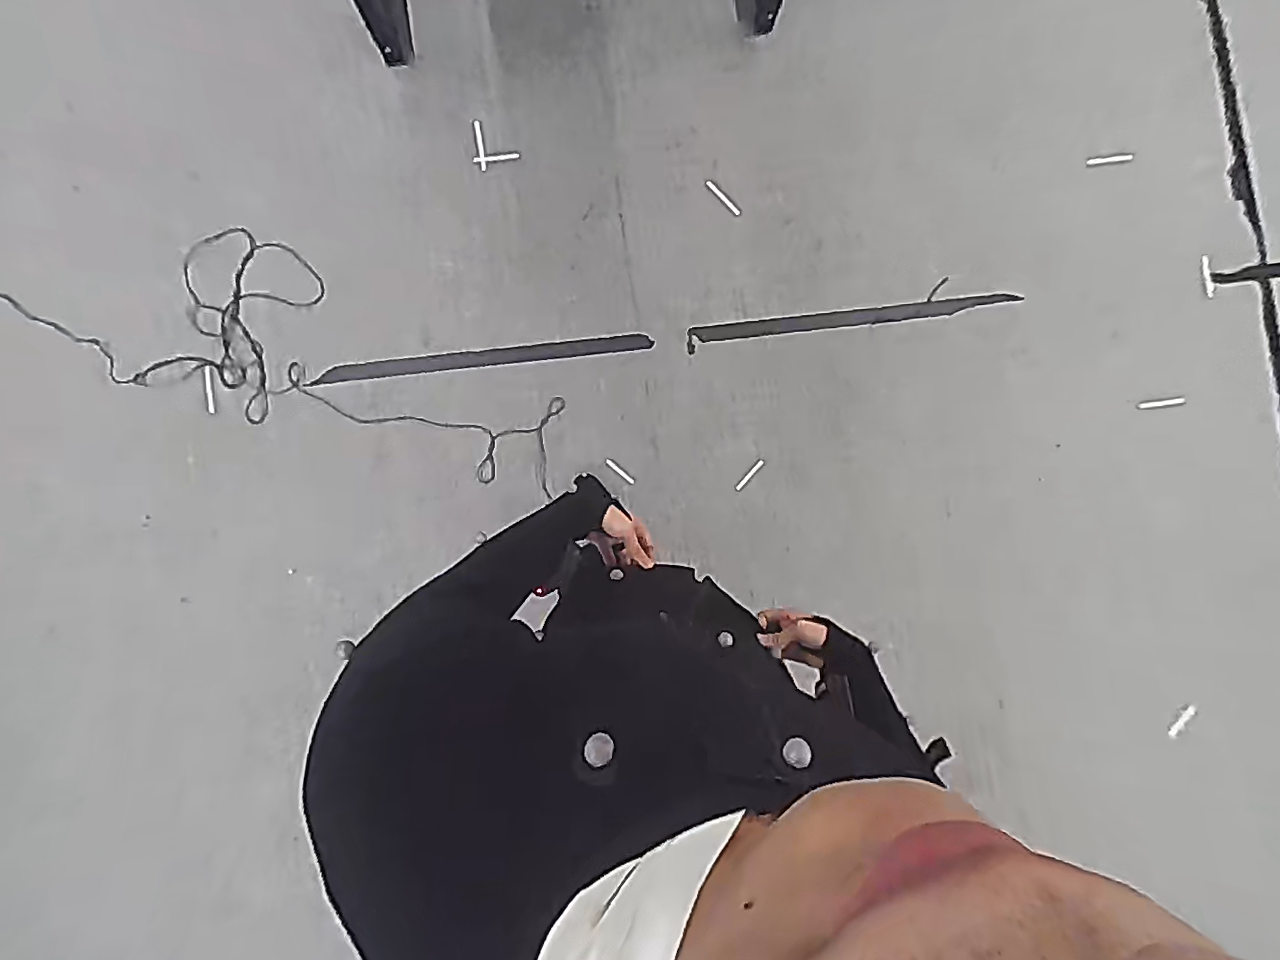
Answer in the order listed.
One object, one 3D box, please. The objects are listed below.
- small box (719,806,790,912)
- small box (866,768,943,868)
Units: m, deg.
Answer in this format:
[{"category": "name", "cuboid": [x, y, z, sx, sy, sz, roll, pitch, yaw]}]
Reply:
[{"category": "small box", "cuboid": [0.331, 1.062, 1.536, 0.168, 0.176, 0.179, -11, 90, -4]}, {"category": "small box", "cuboid": [0.778, 0.972, 1.567, 0.168, 0.176, 0.179, -6, 89, -5]}]
